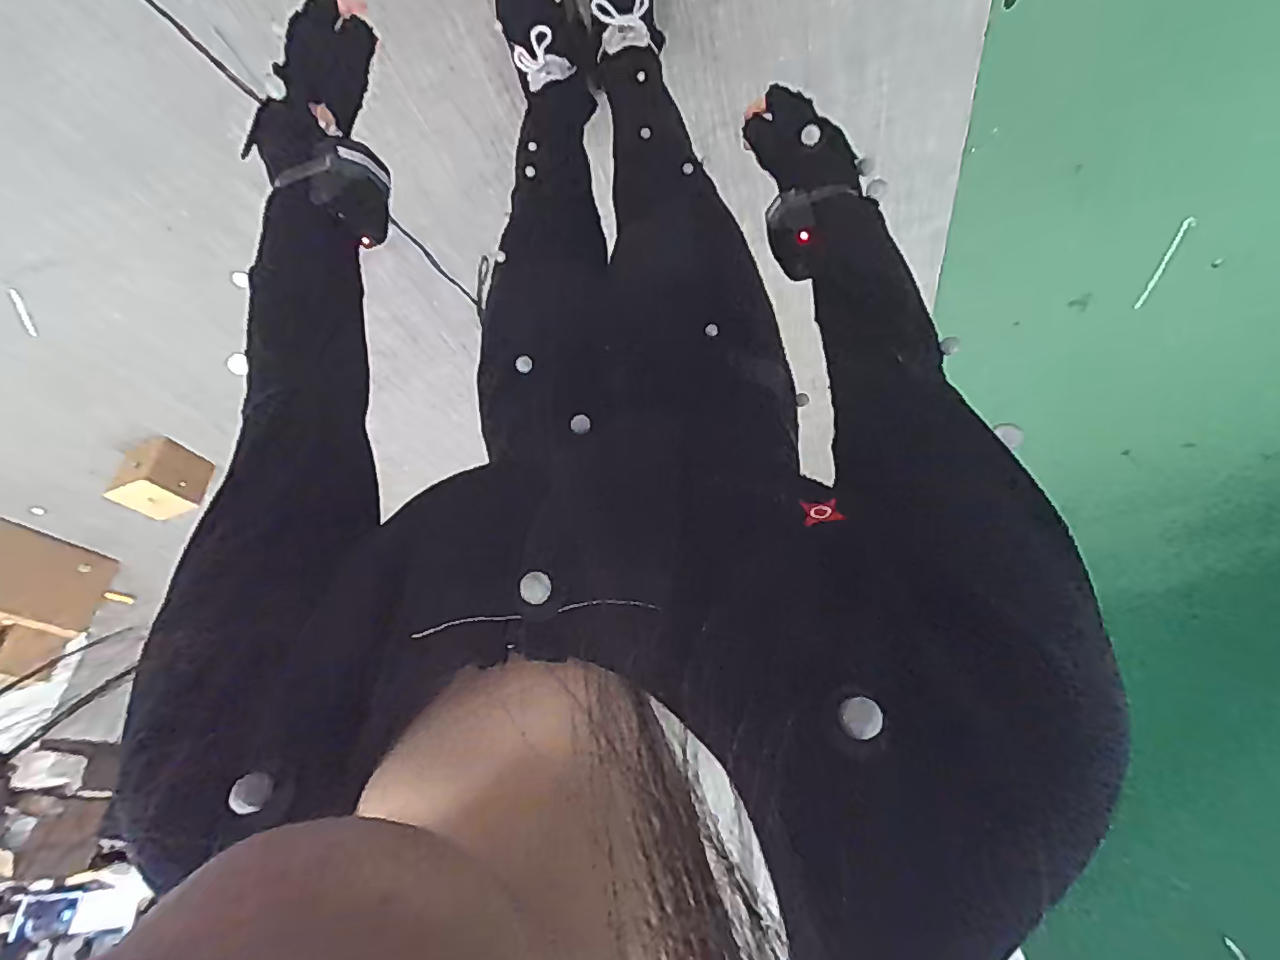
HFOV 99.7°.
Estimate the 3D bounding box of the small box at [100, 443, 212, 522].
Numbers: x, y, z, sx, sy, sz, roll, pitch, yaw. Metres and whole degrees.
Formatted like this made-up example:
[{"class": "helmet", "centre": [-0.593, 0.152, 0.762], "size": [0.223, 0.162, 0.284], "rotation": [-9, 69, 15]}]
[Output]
[{"class": "small box", "centre": [-1.505, 0.003, 1.693], "size": [0.168, 0.176, 0.179], "rotation": [-17, 146, 11]}]
